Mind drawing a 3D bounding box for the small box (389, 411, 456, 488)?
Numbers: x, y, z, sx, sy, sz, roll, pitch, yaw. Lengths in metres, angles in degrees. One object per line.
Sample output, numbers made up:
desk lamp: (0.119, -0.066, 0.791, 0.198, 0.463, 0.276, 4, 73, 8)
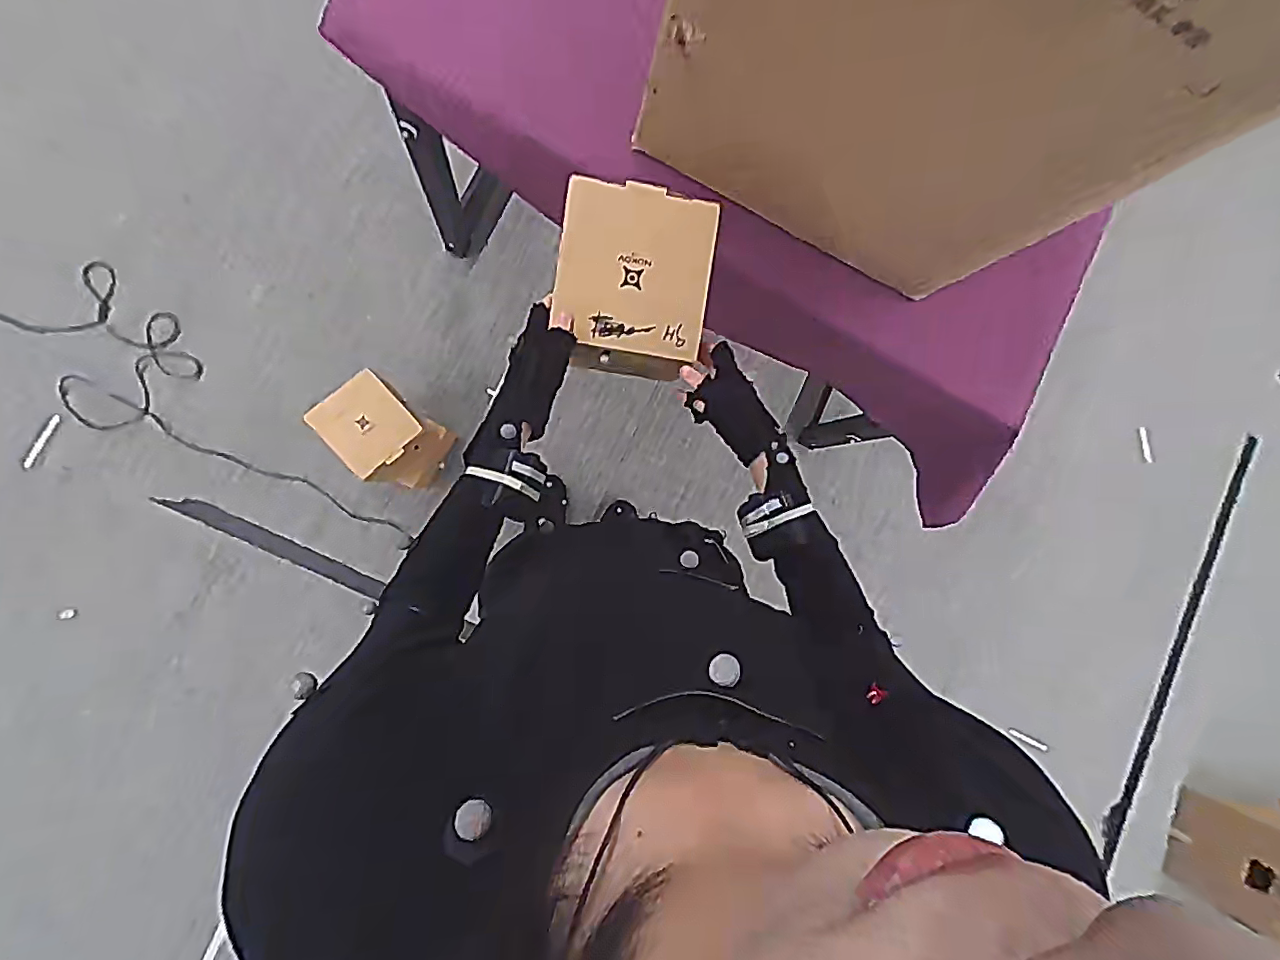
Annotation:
small box: (-0.584, -0.088, 1.343, 0.179, 0.176, 0.168, 29, 84, -9)

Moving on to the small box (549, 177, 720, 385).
small box: (-0.013, -0.225, 0.655, 0.168, 0.176, 0.179, 8, 91, -5)

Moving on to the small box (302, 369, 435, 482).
small box: (-0.577, -0.111, 1.180, 0.168, 0.176, 0.179, -43, 95, -10)
